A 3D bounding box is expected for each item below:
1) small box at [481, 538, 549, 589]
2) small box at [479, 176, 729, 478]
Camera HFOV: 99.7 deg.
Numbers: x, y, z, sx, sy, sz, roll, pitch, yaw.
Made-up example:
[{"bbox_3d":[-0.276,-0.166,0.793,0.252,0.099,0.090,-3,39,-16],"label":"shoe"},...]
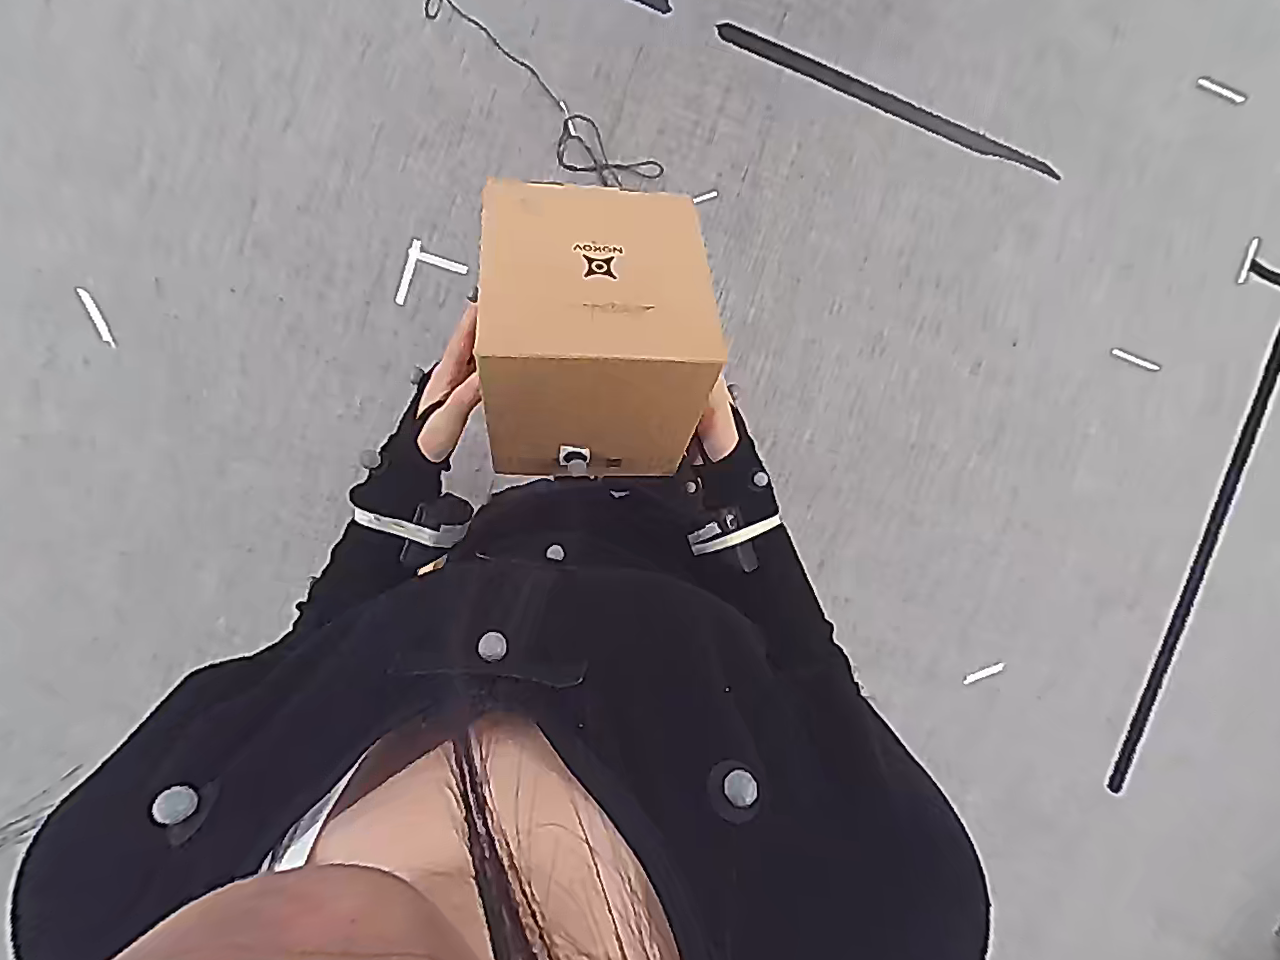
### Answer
[{"bbox_3d":[-0.343,0.269,1.401,0.168,0.176,0.179,22,90,-6],"label":"small box"},{"bbox_3d":[-0.040,-0.117,0.455,0.168,0.176,0.179,-1,63,-10],"label":"small box"}]
